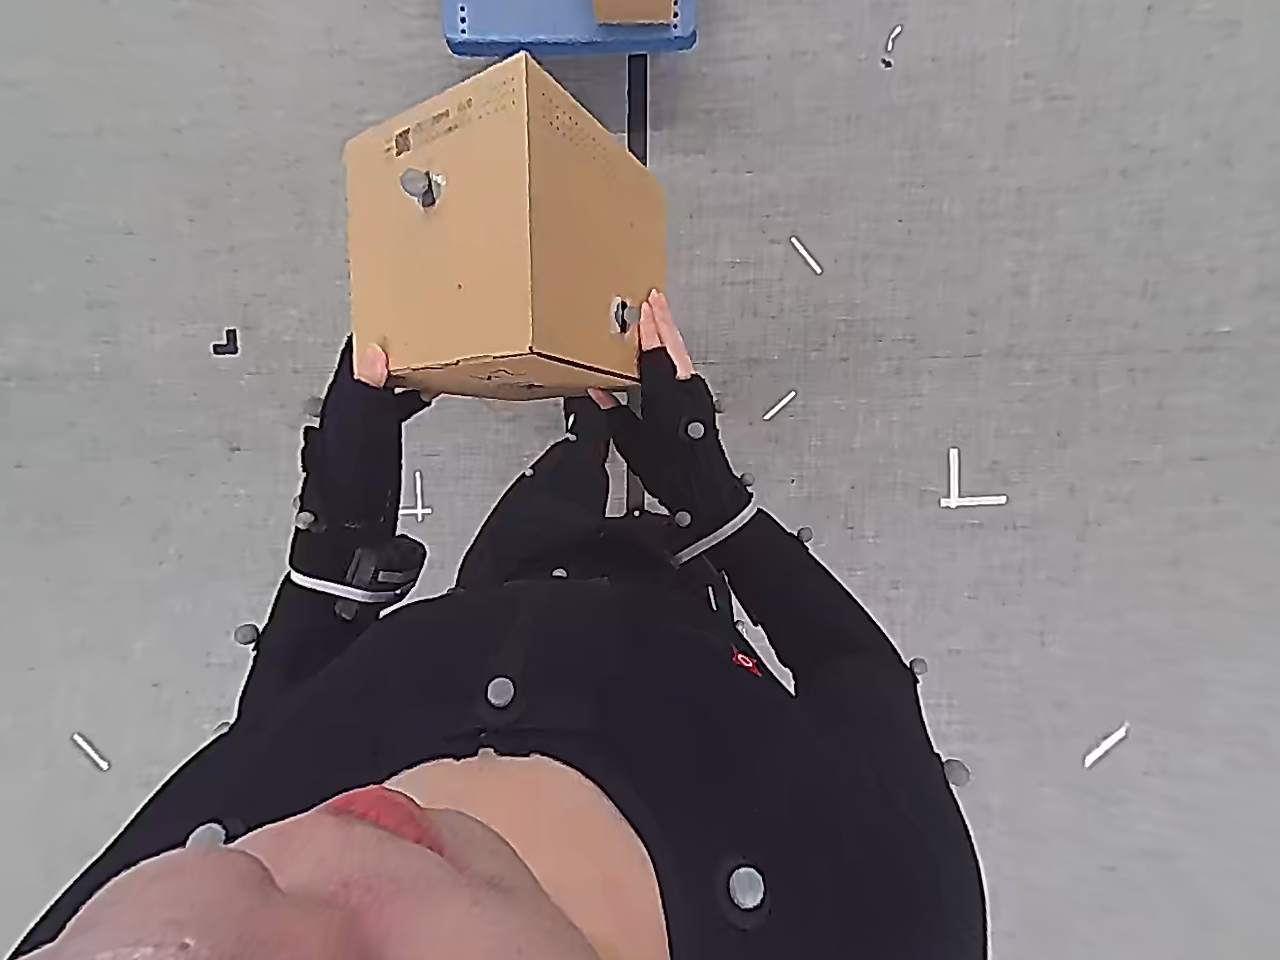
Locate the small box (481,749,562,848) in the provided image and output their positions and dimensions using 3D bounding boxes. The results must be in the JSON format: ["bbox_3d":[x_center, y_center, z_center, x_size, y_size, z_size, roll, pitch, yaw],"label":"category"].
[{"bbox_3d":[-0.317,0.875,1.484,0.168,0.176,0.179,-9,94,2],"label":"small box"}]

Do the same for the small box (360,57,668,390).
[{"bbox_3d":[-0.087,-0.167,0.417,0.168,0.179,0.176,0,92,30],"label":"small box"}]
